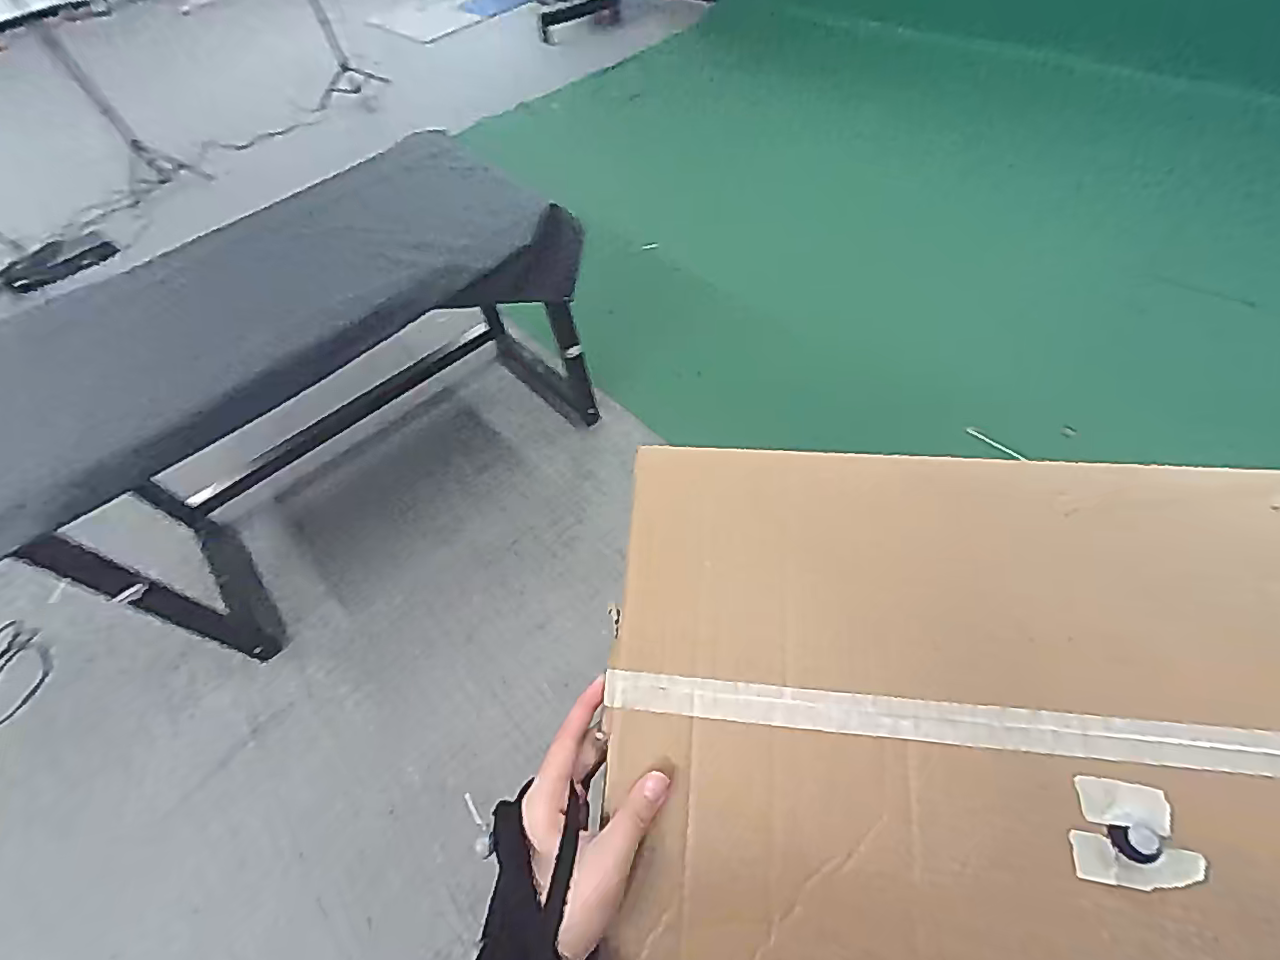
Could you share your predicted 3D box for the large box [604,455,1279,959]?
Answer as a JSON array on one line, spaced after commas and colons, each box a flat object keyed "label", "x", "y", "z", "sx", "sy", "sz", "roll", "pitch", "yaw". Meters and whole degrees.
[{"label": "large box", "x": 0.197, "y": 0.181, "z": 0.453, "sx": 0.408, "sy": 0.320, "sz": 0.320, "roll": 2, "pitch": 72, "yaw": 6}]
